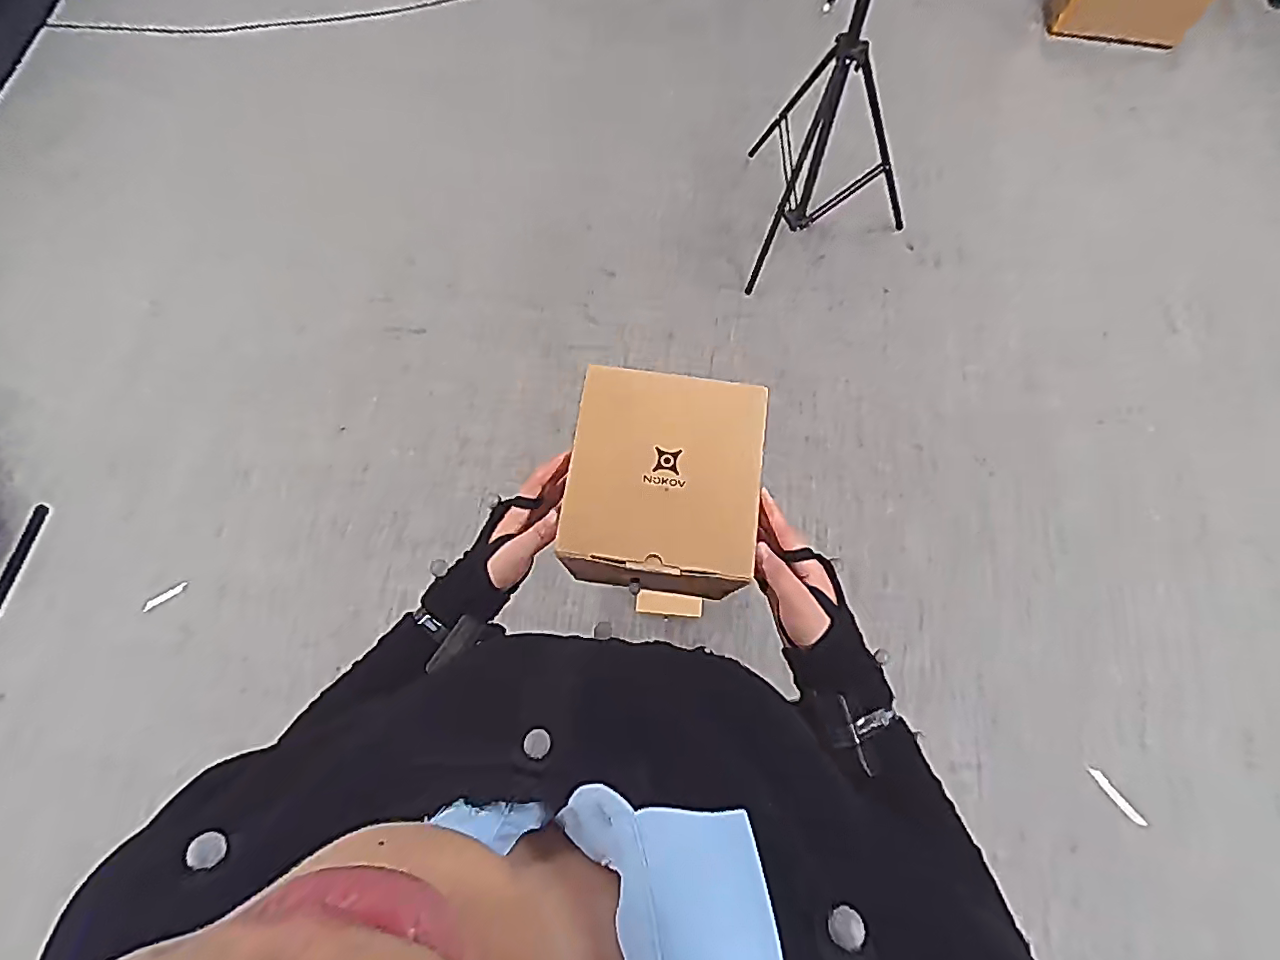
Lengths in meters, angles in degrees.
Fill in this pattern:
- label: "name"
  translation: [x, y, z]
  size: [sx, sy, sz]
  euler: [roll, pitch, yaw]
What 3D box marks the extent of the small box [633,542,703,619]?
- label: "small box"
  translation: [0.078, 0.273, 1.440]
  size: [0.168, 0.176, 0.179]
  euler: [5, 72, 4]
